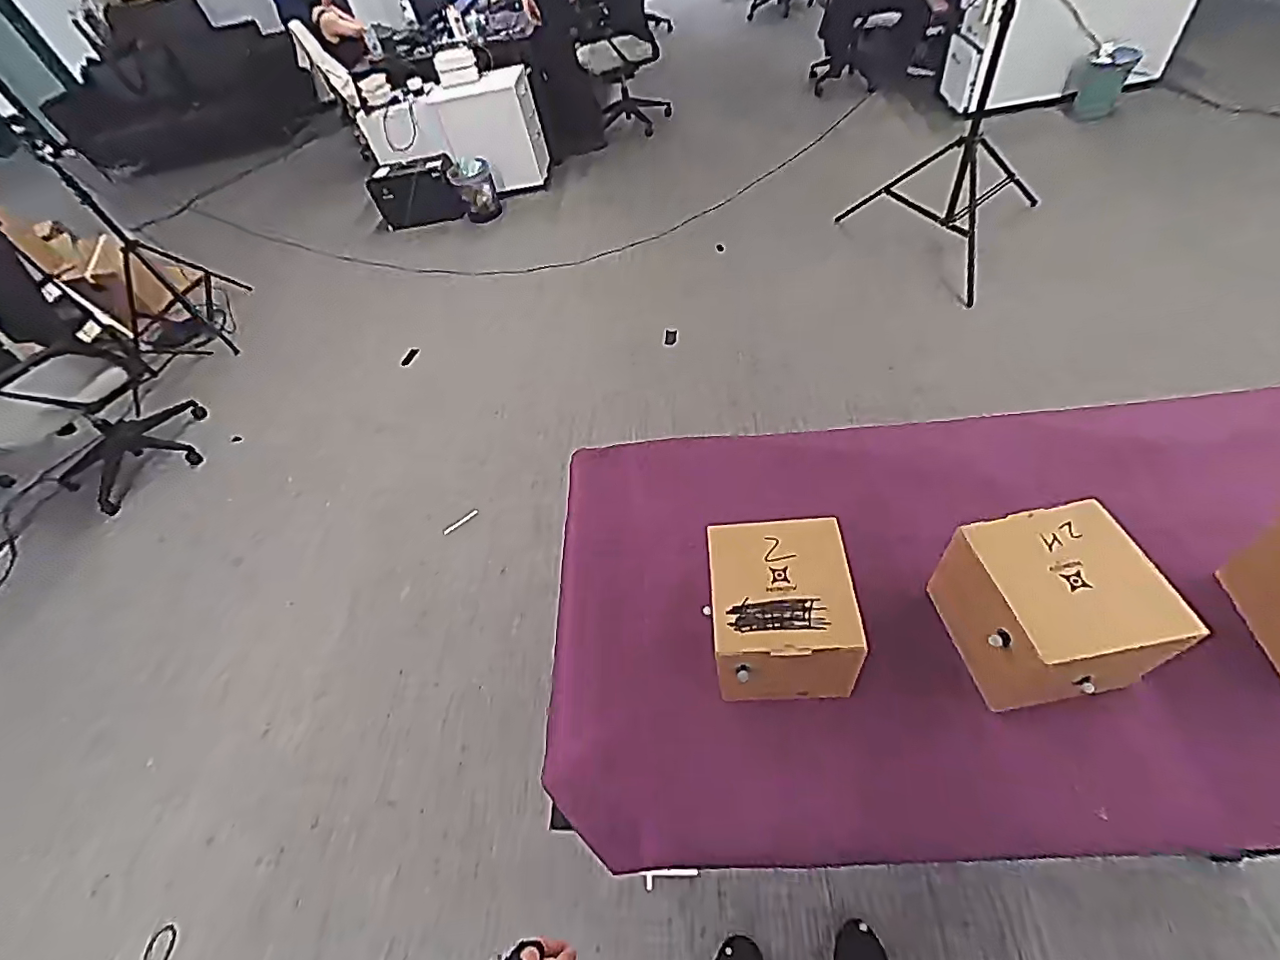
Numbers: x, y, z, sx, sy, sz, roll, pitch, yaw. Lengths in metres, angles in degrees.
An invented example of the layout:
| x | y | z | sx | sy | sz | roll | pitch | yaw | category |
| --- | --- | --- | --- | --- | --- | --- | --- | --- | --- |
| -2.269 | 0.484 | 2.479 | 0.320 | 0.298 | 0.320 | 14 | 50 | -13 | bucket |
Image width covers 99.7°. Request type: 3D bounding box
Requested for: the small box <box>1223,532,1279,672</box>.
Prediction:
| x | y | z | sx | sy | sz | roll | pitch | yaw | category |
| --- | --- | --- | --- | --- | --- | --- | --- | --- | --- |
| 0.826 | 0.136 | 0.594 | 0.168 | 0.176 | 0.179 | -2 | 50 | 11 | small box |

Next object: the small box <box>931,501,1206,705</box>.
| x | y | z | sx | sy | sz | roll | pitch | yaw | category |
| --- | --- | --- | --- | --- | --- | --- | --- | --- | --- |
| 0.486 | 0.156 | 0.653 | 0.168 | 0.176 | 0.179 | -12 | 50 | 2 | small box |
